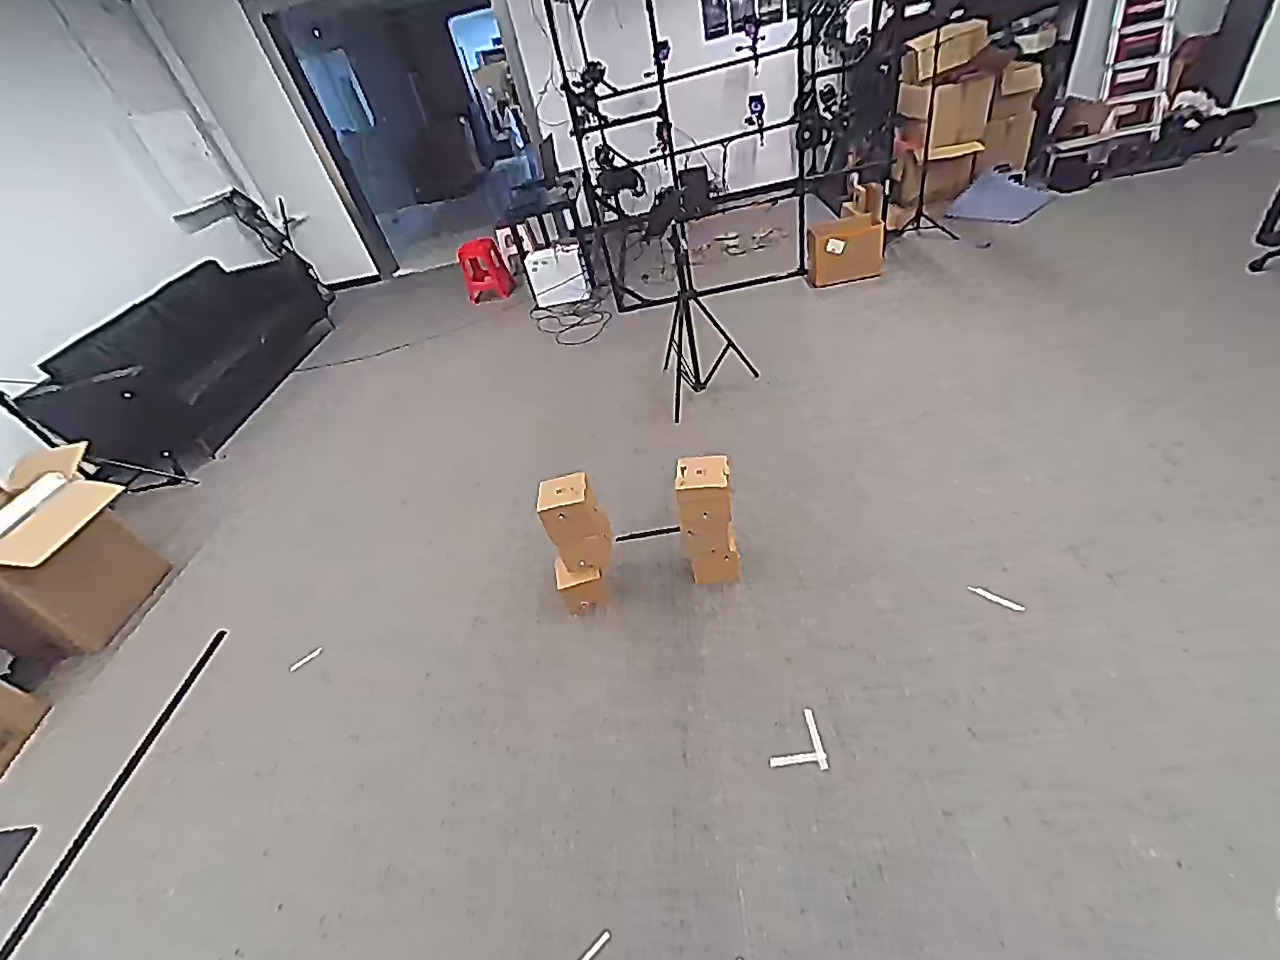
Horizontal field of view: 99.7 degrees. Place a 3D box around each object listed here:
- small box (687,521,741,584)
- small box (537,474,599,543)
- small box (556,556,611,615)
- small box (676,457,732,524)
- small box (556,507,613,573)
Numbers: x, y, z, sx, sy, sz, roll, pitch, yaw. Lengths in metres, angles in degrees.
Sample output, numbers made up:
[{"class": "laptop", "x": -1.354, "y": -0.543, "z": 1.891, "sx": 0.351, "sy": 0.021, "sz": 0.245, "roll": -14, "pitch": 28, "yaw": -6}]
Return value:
[{"class": "small box", "x": 0.285, "y": 0.282, "z": 2.082, "sx": 0.179, "sy": 0.176, "sz": 0.168, "roll": -9, "pitch": 39, "yaw": 7}, {"class": "small box", "x": -0.256, "y": 0.106, "z": 1.951, "sx": 0.179, "sy": 0.176, "sz": 0.168, "roll": -13, "pitch": 38, "yaw": 5}, {"class": "small box", "x": -0.222, "y": 0.396, "z": 2.114, "sx": 0.168, "sy": 0.176, "sz": 0.179, "roll": -17, "pitch": 39, "yaw": -1}, {"class": "small box", "x": 0.225, "y": 0.038, "z": 1.871, "sx": 0.179, "sy": 0.176, "sz": 0.168, "roll": -3, "pitch": 40, "yaw": 12}, {"class": "small box", "x": -0.206, "y": 0.227, "z": 2.051, "sx": 0.168, "sy": 0.176, "sz": 0.179, "roll": -8, "pitch": 39, "yaw": 11}]
